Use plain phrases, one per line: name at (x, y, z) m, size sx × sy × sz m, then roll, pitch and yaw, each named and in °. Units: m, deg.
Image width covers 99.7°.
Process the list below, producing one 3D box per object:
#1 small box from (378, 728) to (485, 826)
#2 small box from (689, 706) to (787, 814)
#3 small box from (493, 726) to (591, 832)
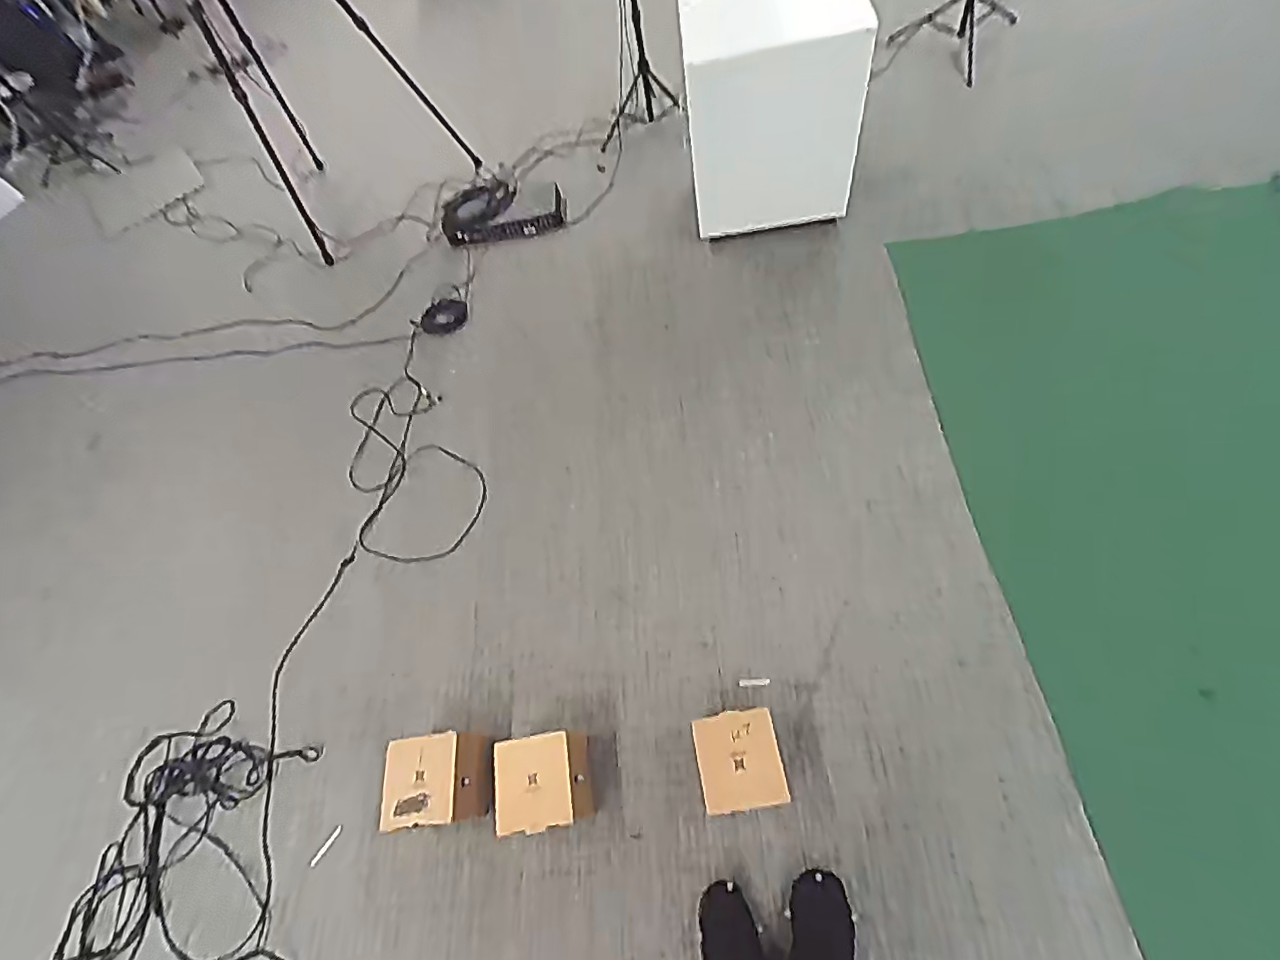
small box at (-0.466, 0.673, 1.234) m, size 0.168 × 0.176 × 0.179 m, roll -10°, pitch 61°, yaw 6°
small box at (0.205, 0.590, 1.150) m, size 0.168 × 0.176 × 0.179 m, roll -11°, pitch 62°, yaw 4°
small box at (-0.214, 0.656, 1.196) m, size 0.168 × 0.176 × 0.179 m, roll -13°, pitch 63°, yaw 5°
